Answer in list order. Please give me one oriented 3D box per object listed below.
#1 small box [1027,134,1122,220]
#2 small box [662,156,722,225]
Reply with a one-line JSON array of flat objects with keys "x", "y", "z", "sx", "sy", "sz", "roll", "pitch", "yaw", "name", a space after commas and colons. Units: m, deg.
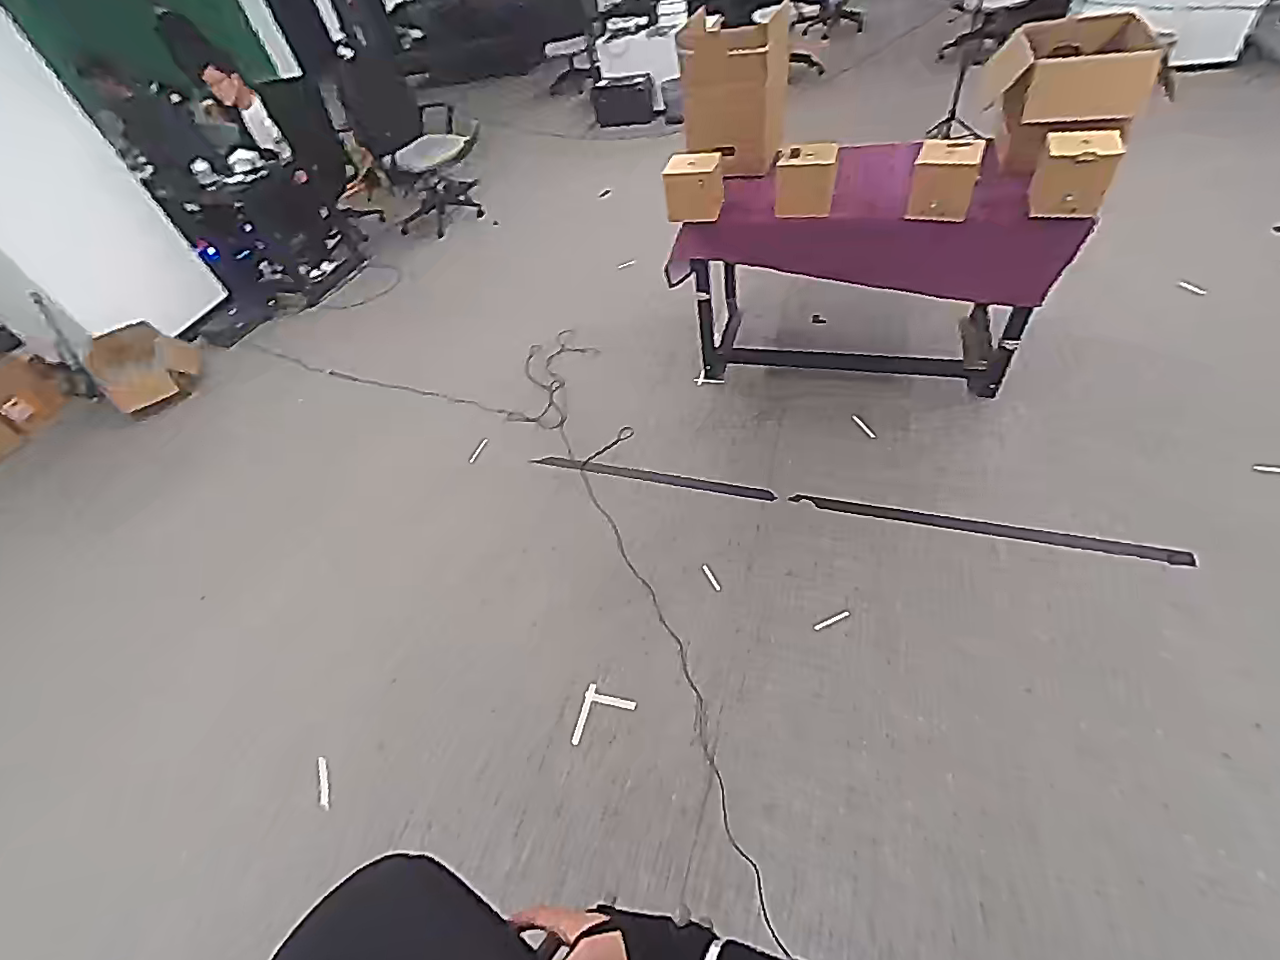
[{"x": 1.240, "y": -0.872, "z": 1.557, "sx": 0.168, "sy": 0.176, "sz": 0.179, "roll": 12, "pitch": 52, "yaw": 23, "name": "small box"}, {"x": 0.189, "y": -1.021, "z": 1.913, "sx": 0.179, "sy": 0.176, "sz": 0.168, "roll": 7, "pitch": 51, "yaw": 16, "name": "small box"}]
